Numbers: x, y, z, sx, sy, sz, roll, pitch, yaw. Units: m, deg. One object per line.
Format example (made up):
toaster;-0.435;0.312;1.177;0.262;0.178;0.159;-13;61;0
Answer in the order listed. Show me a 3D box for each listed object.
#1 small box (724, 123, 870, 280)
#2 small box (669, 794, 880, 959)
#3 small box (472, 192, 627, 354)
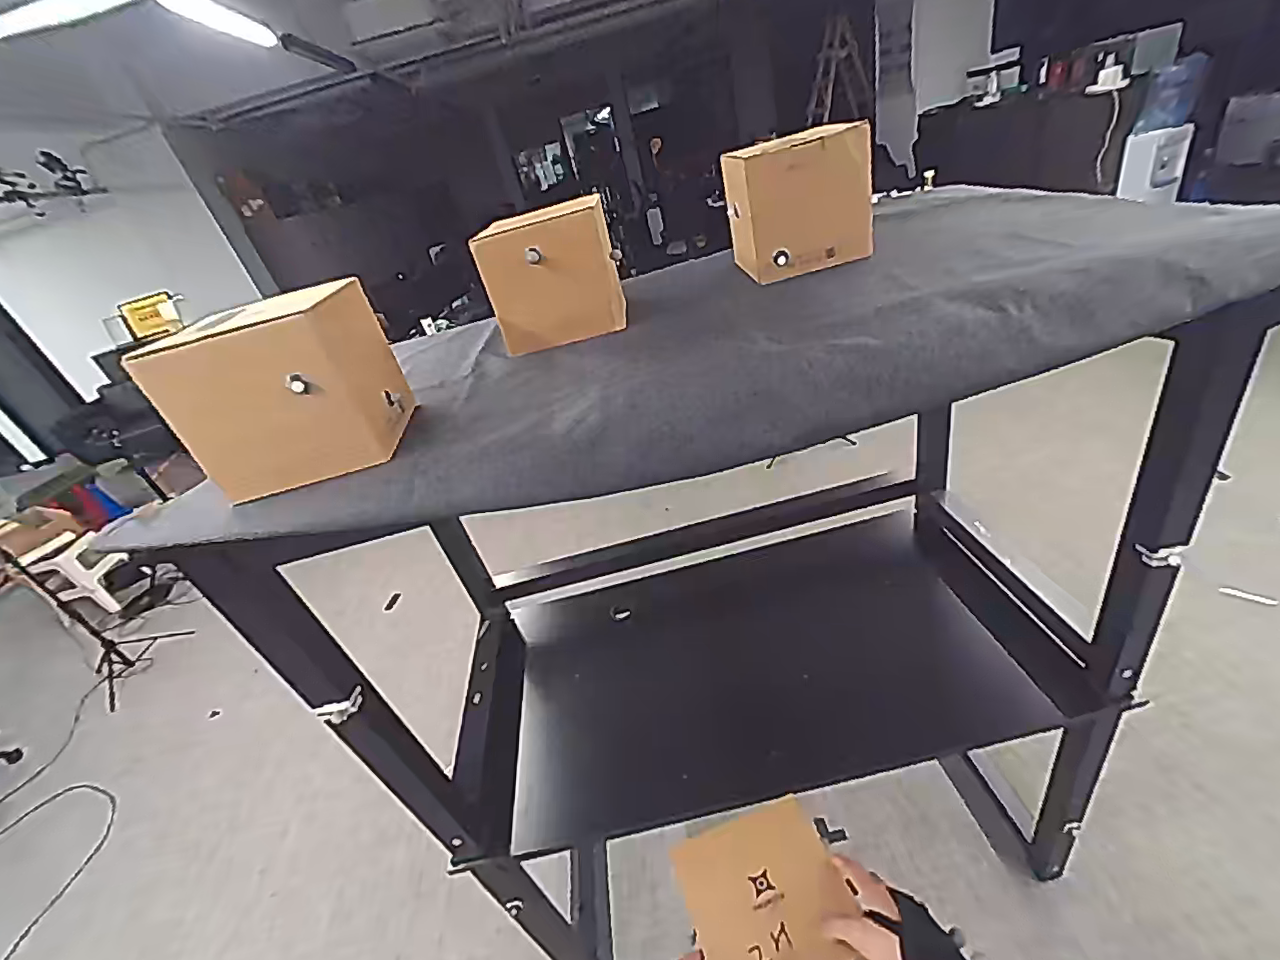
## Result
small box;0.232;-0.411;0.807;0.168;0.176;0.179;-13;31;5
small box;0.146;0.509;0.608;0.168;0.176;0.179;-18;24;-9
small box;-0.120;-0.308;0.806;0.179;0.176;0.168;-12;32;7
